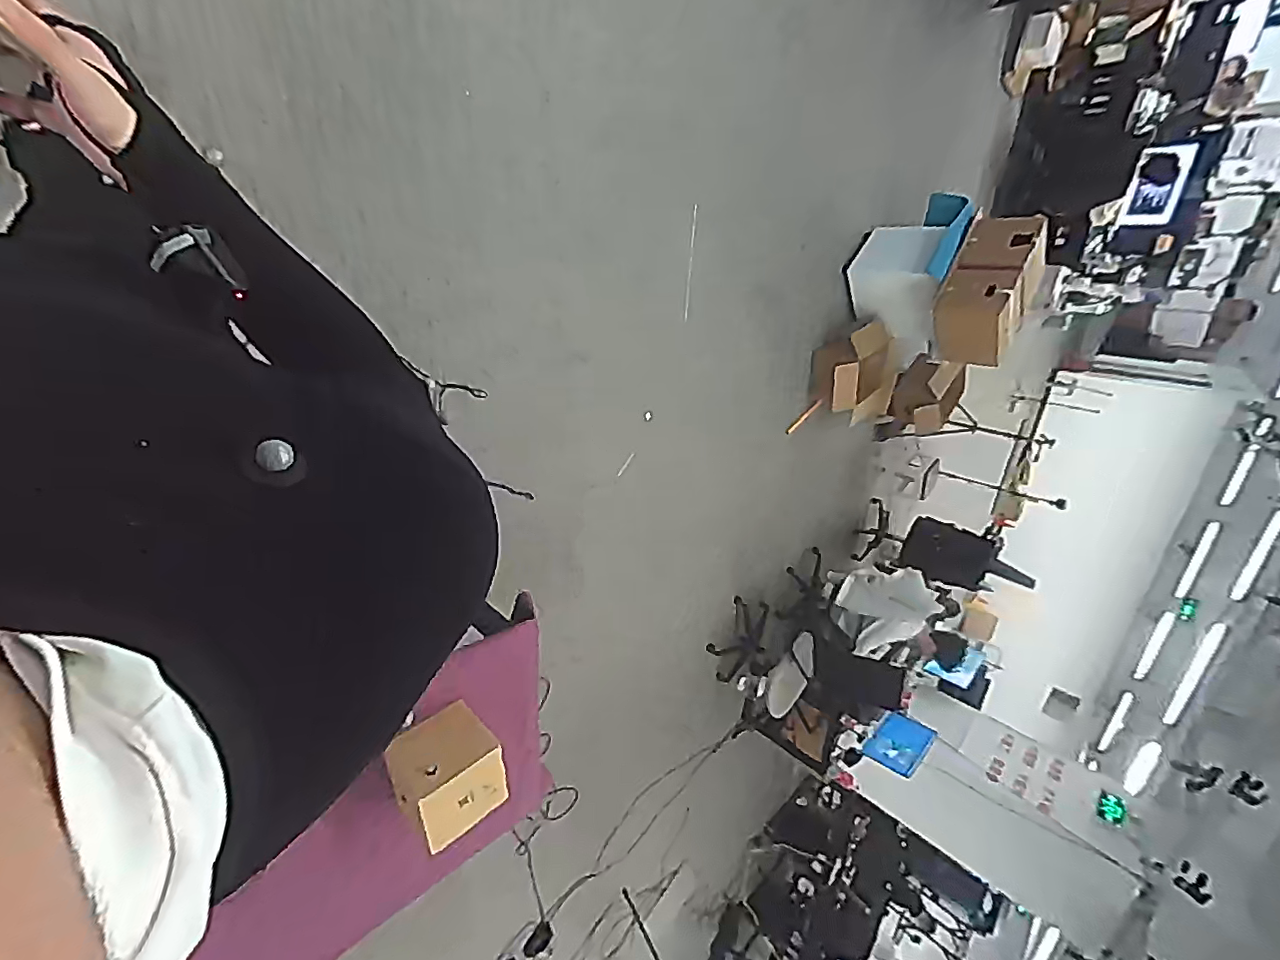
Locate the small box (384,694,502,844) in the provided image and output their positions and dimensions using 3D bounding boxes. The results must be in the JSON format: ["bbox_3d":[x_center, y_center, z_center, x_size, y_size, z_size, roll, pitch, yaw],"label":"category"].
[{"bbox_3d":[-0.415,0.594,1.133,0.179,0.176,0.168,-24,126,-41],"label":"small box"}]

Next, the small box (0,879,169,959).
[{"bbox_3d":[-0.798,0.731,0.769,0.179,0.176,0.168,-4,112,-48],"label":"small box"}]
